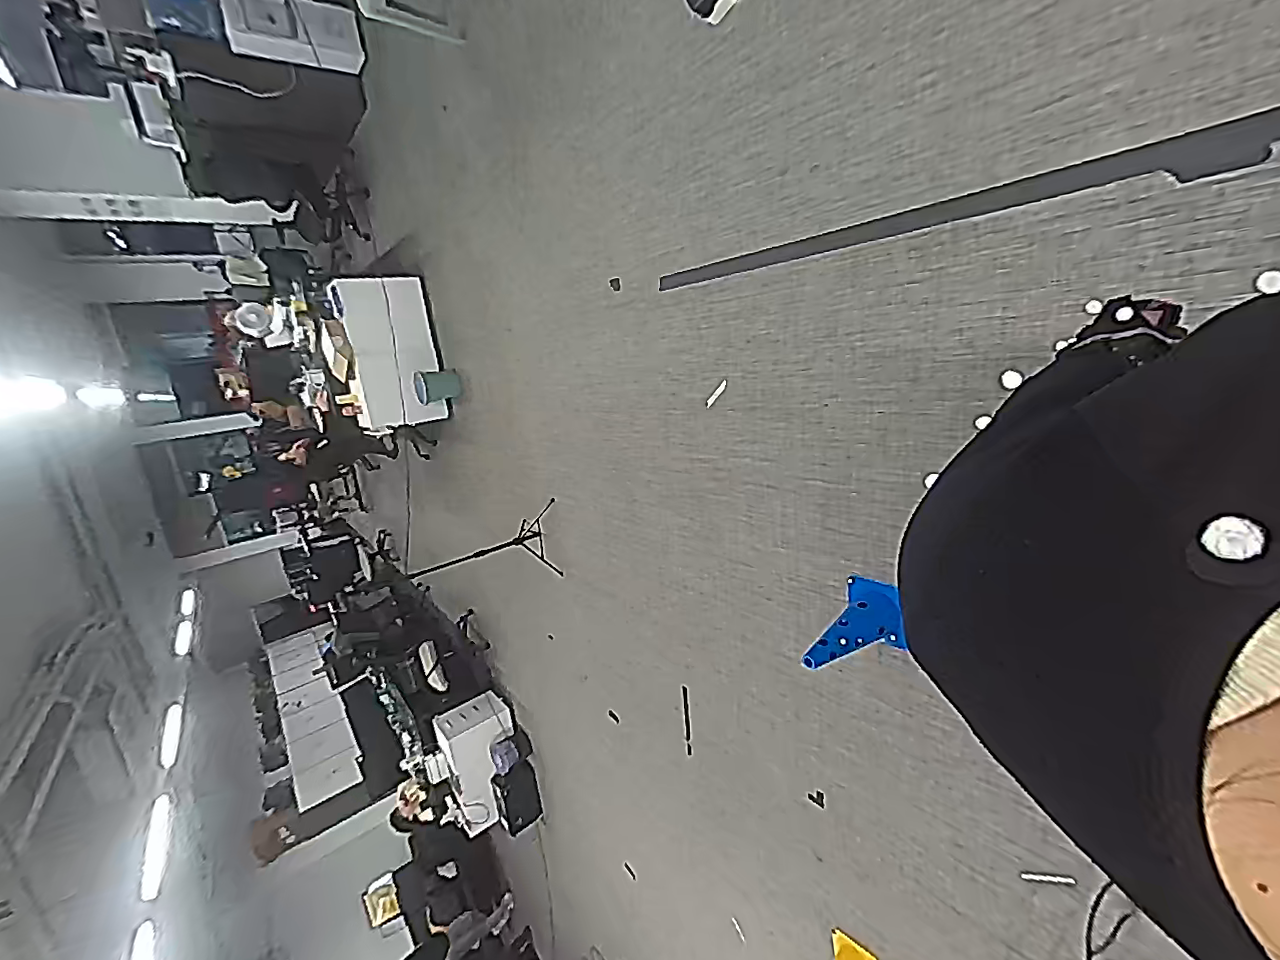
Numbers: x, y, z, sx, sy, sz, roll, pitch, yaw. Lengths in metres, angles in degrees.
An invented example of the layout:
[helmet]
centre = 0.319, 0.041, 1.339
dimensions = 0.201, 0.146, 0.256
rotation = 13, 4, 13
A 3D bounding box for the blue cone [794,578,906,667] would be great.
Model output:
[blue cone]
centre = 0.579, 0.437, 1.537
dimensions = 0.192, 0.380, 0.193
rotation = 14, 115, 52
